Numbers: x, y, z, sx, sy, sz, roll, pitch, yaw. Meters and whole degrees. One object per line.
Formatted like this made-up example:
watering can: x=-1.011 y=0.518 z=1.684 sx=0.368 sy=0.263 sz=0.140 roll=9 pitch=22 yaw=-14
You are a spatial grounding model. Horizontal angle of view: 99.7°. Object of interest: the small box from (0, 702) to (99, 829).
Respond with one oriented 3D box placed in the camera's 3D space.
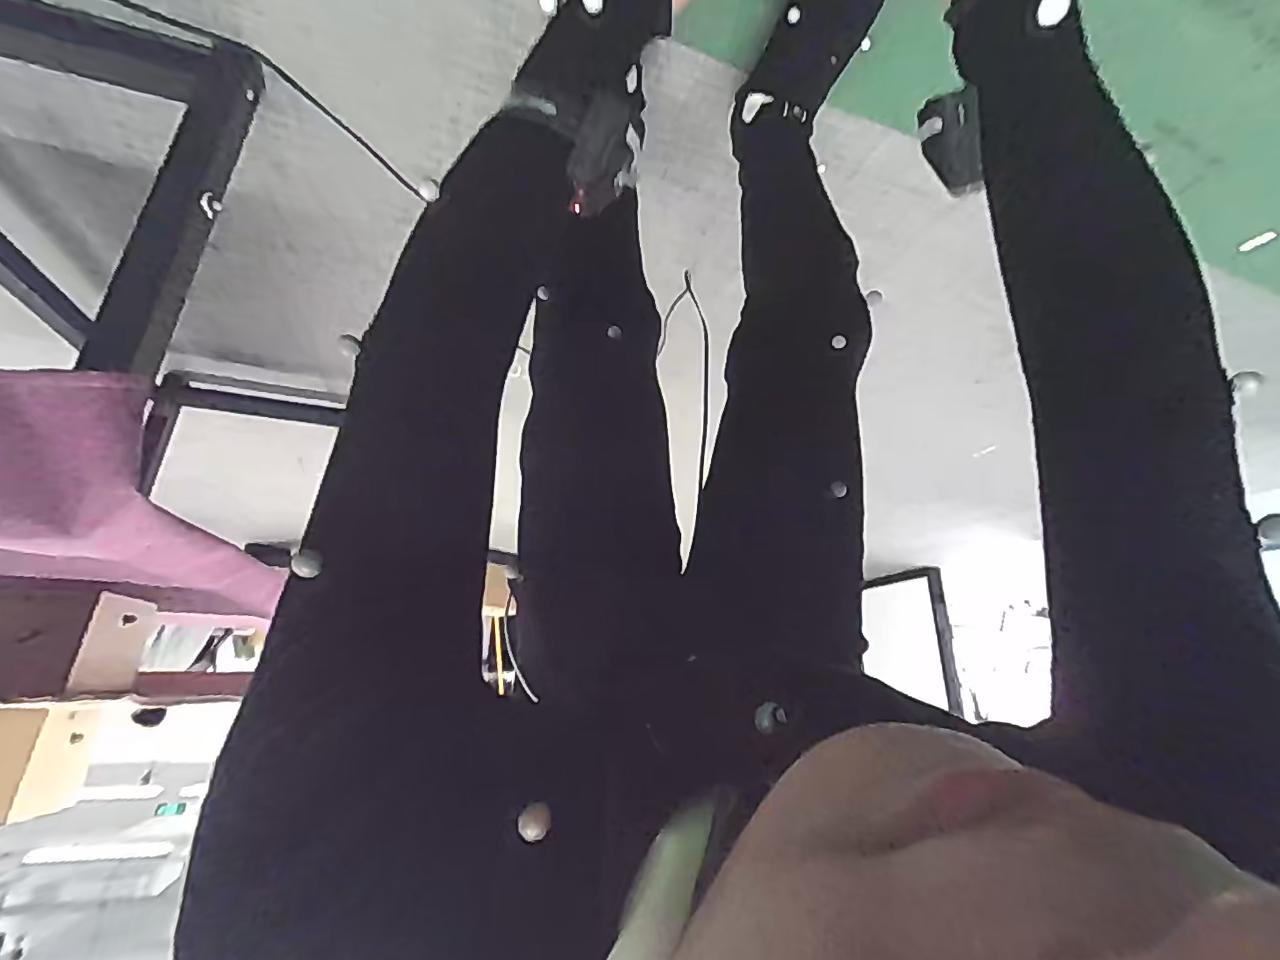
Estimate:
small box: x=-1.026 y=0.444 z=0.849 sx=0.179 sy=0.176 sz=0.168 roll=7 pitch=157 yaw=-16
